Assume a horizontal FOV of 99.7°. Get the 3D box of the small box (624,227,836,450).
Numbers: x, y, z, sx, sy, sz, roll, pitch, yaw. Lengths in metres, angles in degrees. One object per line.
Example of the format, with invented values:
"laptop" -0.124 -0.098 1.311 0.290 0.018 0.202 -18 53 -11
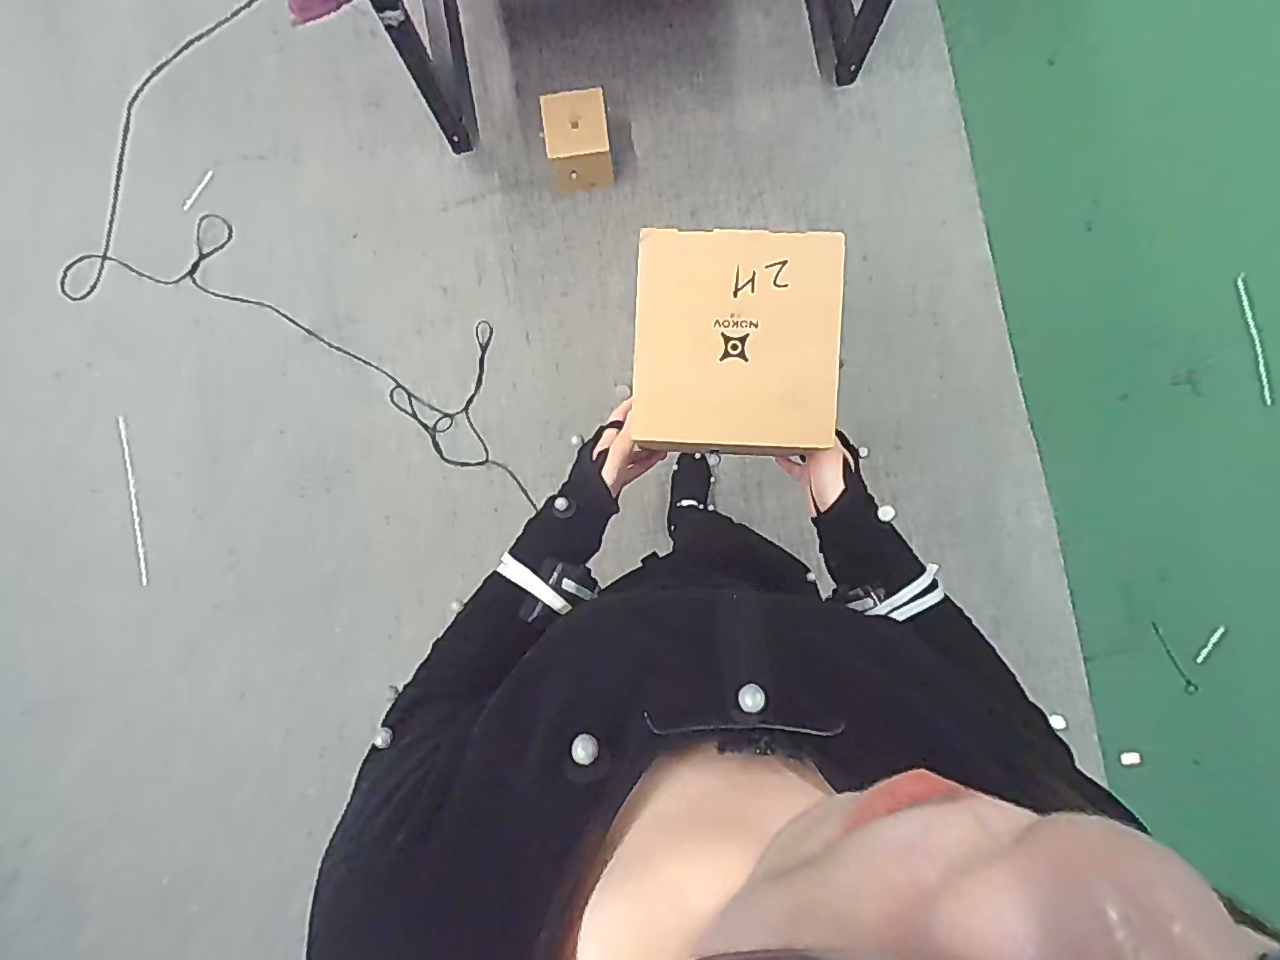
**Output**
"small box" 0.078 -0.121 0.528 0.168 0.176 0.179 4 91 3
